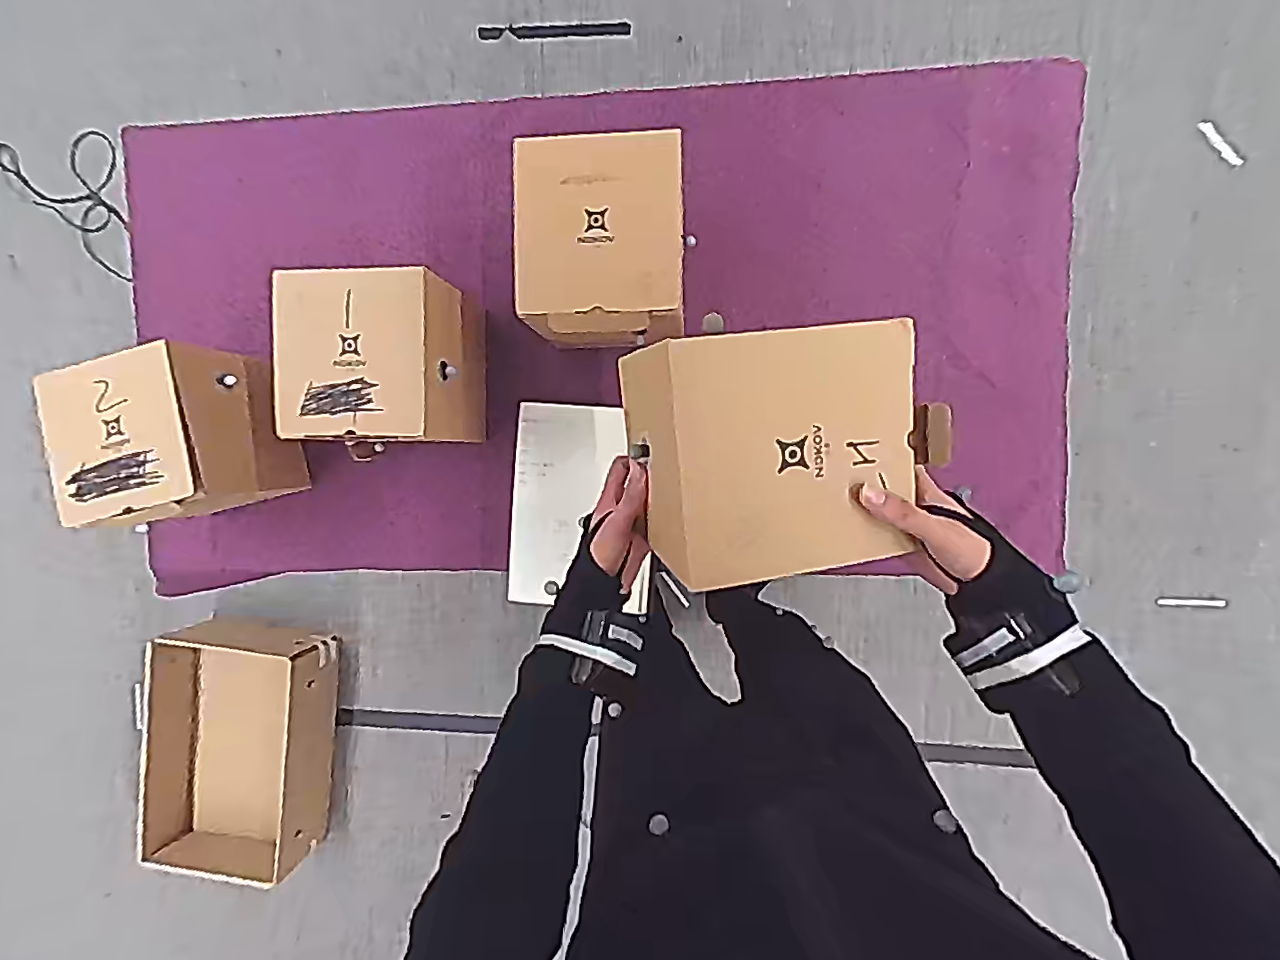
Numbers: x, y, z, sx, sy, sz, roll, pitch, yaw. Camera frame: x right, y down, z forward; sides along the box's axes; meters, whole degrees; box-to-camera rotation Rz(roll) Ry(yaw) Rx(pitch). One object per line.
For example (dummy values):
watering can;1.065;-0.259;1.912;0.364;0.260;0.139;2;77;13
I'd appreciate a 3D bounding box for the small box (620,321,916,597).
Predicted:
small box;0.084;-0.025;0.428;0.179;0.176;0.168;-8;100;-12

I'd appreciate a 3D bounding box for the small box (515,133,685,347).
small box;-0.034;-0.247;0.603;0.168;0.176;0.179;0;92;5

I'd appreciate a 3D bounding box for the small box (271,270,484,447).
small box;-0.291;-0.128;0.631;0.168;0.176;0.179;1;92;5
